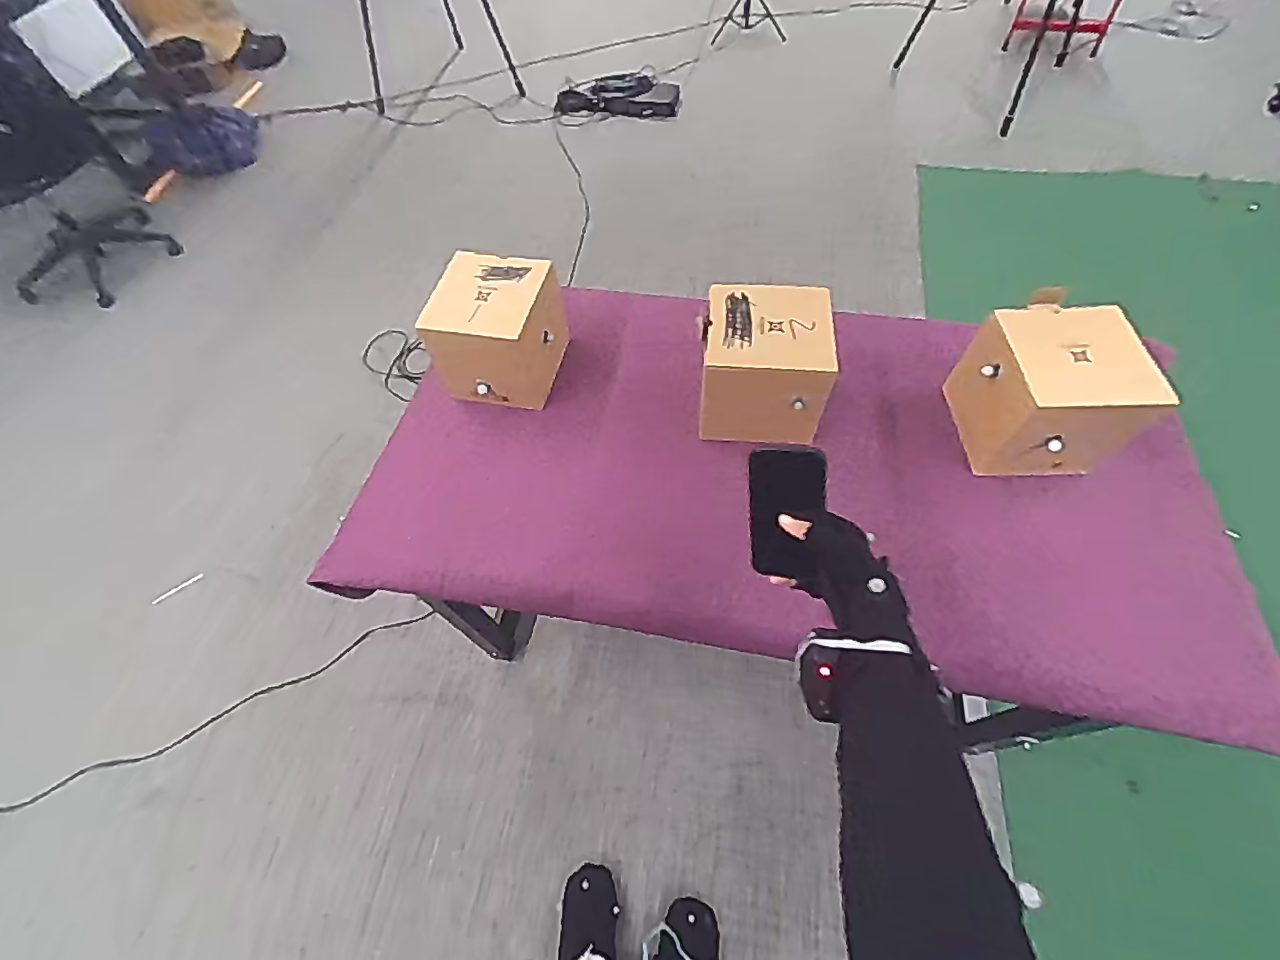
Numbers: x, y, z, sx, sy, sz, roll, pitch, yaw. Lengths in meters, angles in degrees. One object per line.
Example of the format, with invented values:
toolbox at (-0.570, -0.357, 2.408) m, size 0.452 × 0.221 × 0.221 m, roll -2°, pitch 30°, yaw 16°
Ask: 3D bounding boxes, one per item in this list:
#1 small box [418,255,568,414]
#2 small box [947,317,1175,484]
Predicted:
small box at (-0.225, -0.235, 0.888) m, size 0.168 × 0.176 × 0.179 m, roll 10°, pitch 61°, yaw 9°
small box at (0.569, -0.105, 0.763) m, size 0.168 × 0.176 × 0.179 m, roll 0°, pitch 57°, yaw 4°
